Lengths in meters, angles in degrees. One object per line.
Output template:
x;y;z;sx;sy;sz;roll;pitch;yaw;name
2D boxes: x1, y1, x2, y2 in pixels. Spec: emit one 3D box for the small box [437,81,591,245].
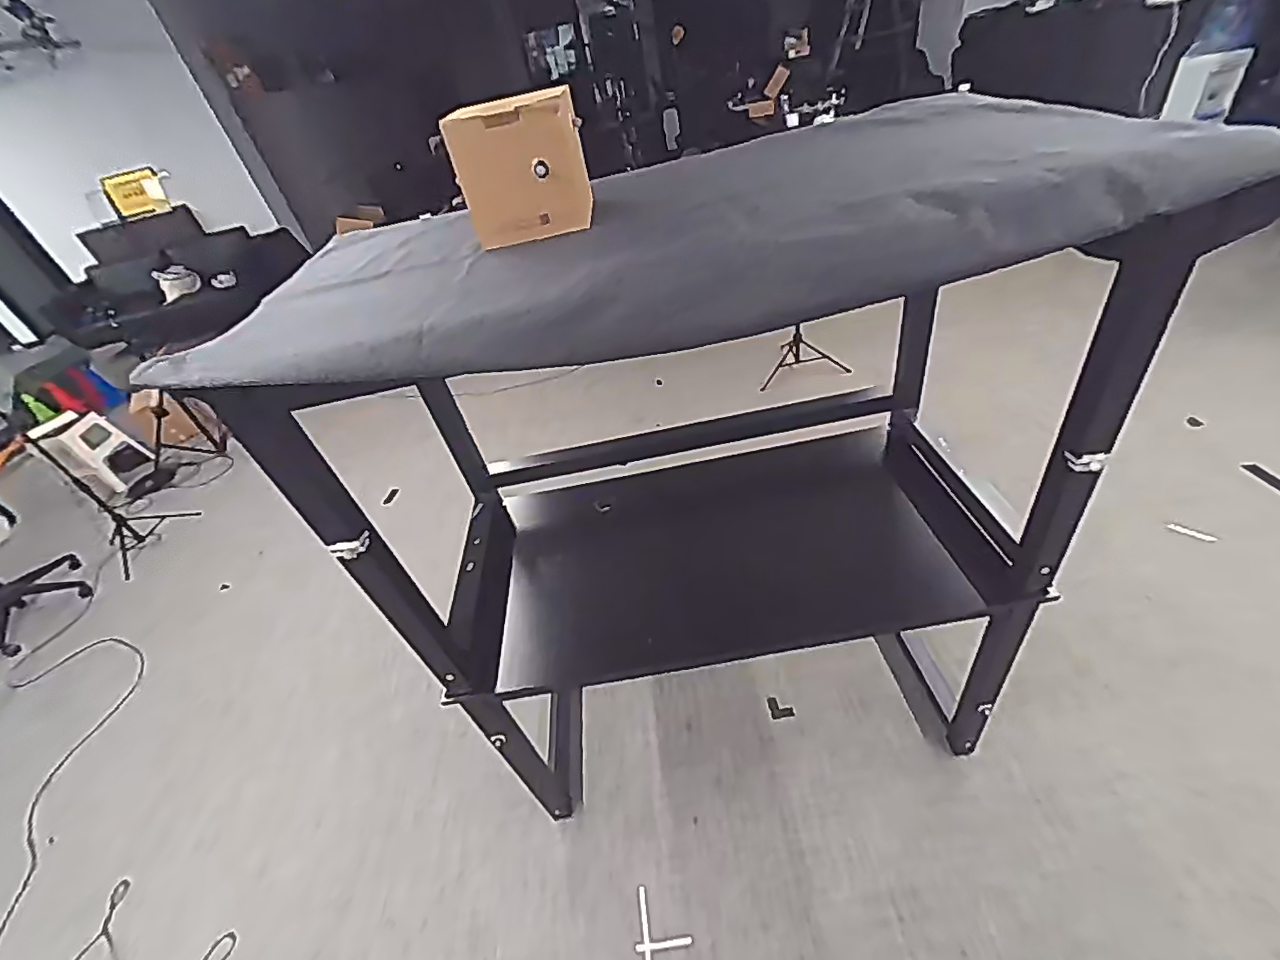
-0.172;-0.465;0.804;0.168;0.176;0.179;-9;41;5;small box
